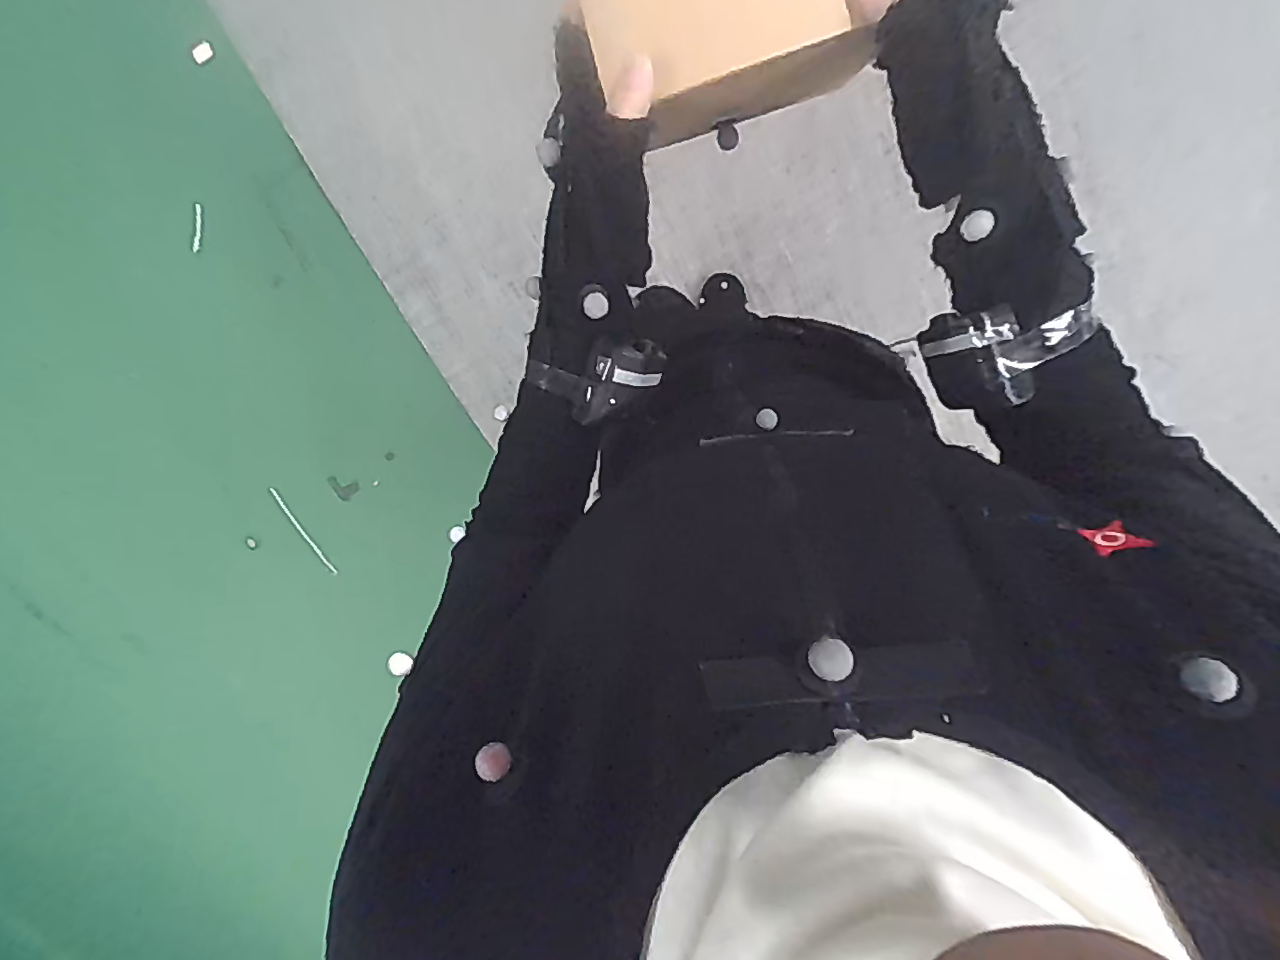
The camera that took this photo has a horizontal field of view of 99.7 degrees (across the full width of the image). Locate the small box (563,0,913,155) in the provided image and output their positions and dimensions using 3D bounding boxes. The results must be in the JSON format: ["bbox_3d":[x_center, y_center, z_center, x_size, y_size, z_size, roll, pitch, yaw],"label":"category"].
[{"bbox_3d":[0.037,-0.317,0.312,0.168,0.176,0.179,-12,113,10],"label":"small box"}]
